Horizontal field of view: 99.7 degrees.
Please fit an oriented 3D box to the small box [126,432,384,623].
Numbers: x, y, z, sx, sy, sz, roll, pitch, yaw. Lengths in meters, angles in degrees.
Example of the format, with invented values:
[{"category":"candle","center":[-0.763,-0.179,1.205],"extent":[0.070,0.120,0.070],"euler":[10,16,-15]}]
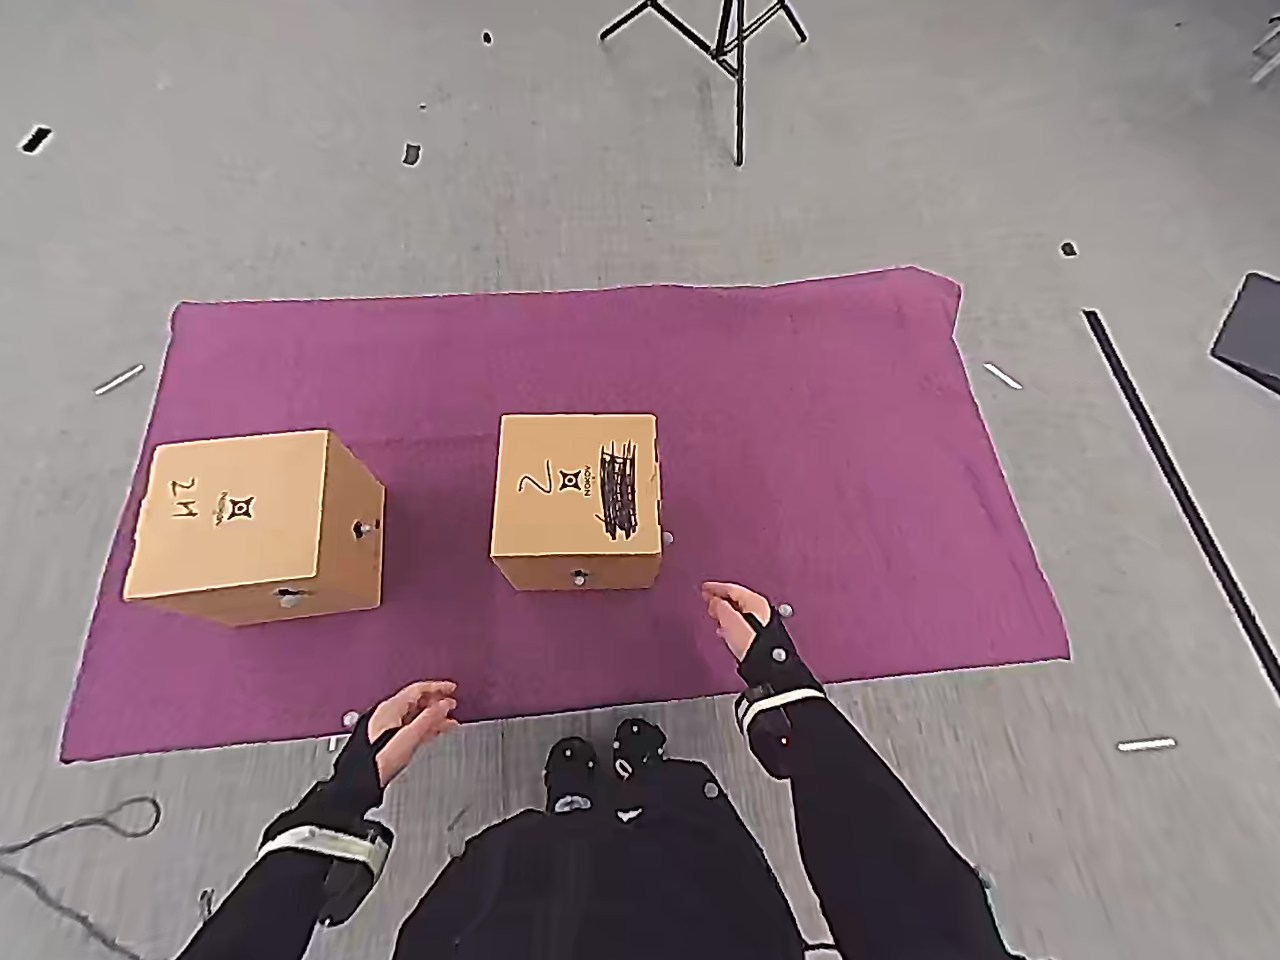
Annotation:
[{"category":"small box","center":[-0.412,0.061,0.619],"extent":[0.179,0.176,0.168],"euler":[-6,67,-6]}]
